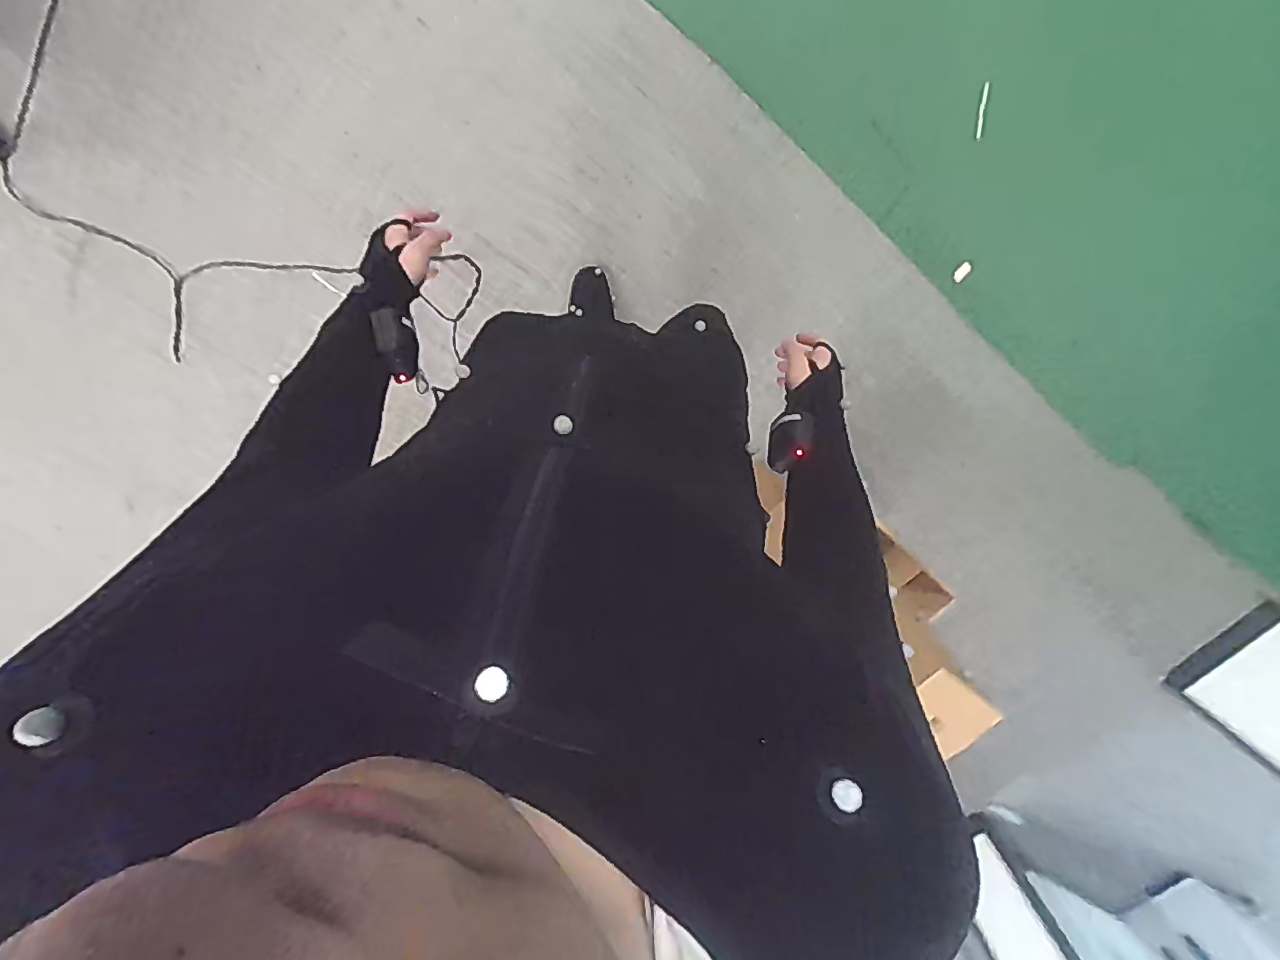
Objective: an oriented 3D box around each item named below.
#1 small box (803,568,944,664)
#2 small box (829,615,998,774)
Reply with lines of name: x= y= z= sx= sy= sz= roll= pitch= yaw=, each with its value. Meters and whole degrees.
small box: x=0.475 y=0.315 z=1.124 sx=0.179 sy=0.176 sz=0.168 roll=37 pitch=106 yaw=-16
small box: x=0.481 y=0.378 z=0.974 sx=0.179 sy=0.176 sz=0.168 roll=38 pitch=105 yaw=-17
